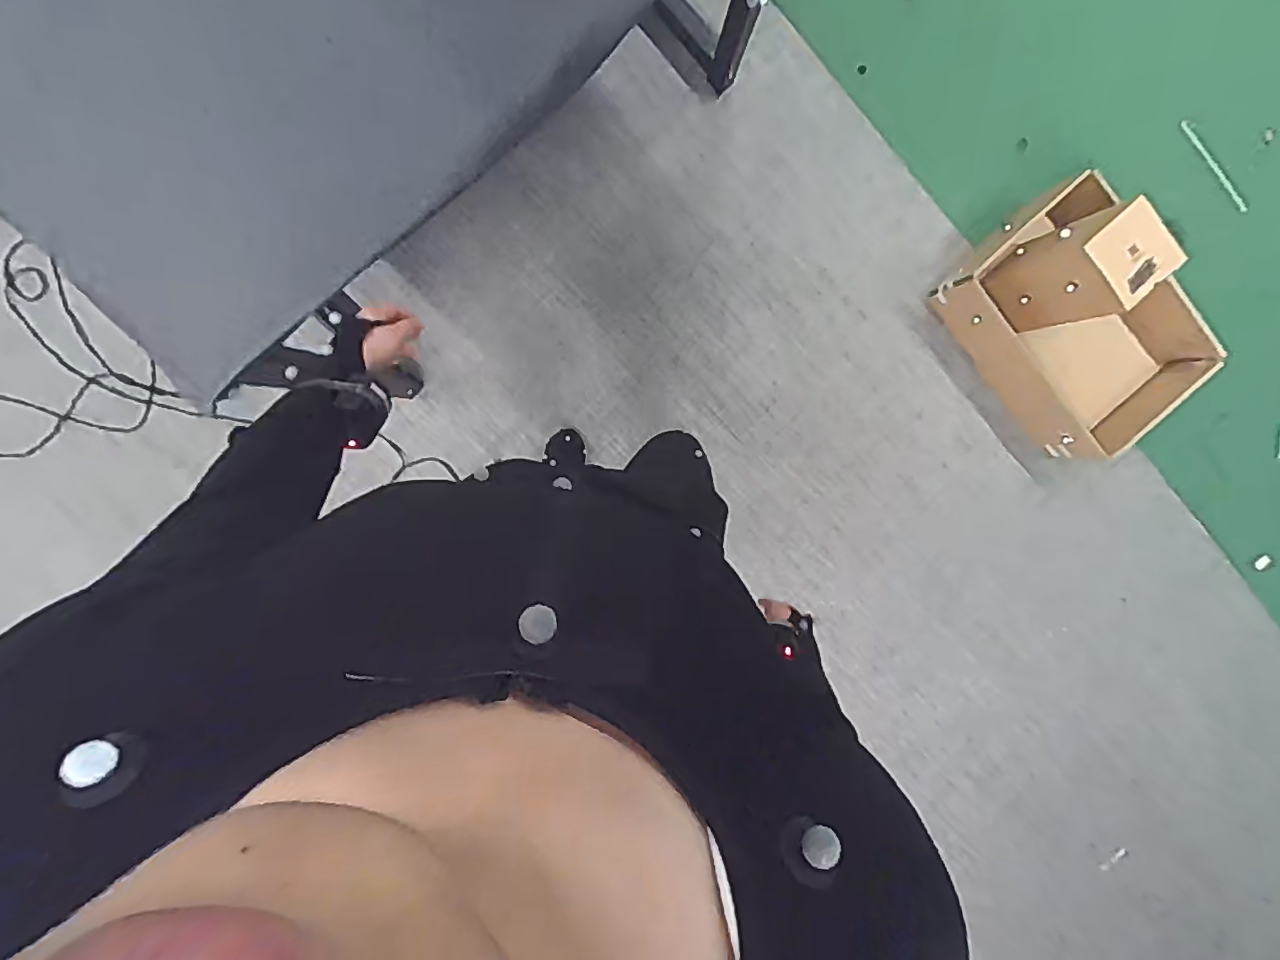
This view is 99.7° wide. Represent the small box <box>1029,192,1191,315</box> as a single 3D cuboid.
[{"bbox_3d":[1.025,-0.484,1.193,0.168,0.176,0.179,-42,98,2],"label":"small box"}]

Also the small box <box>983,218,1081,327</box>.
[{"bbox_3d":[1.017,-0.508,1.356,0.168,0.176,0.179,-43,99,3],"label":"small box"}]
